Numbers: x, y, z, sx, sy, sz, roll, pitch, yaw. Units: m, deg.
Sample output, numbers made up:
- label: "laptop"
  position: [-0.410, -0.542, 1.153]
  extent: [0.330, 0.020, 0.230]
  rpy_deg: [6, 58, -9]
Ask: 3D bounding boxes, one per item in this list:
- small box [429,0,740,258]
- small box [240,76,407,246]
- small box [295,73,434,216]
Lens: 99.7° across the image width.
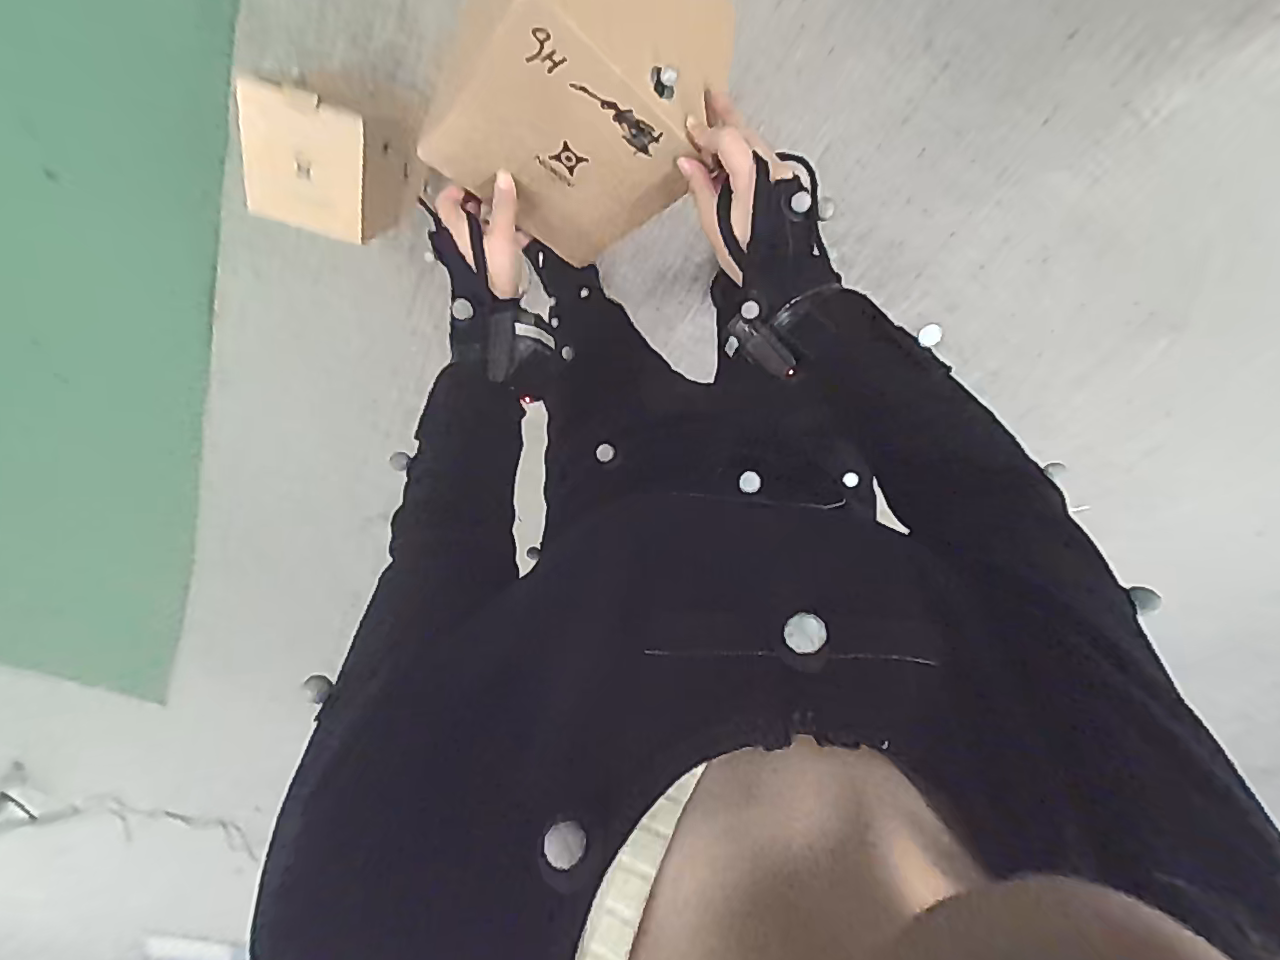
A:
- label: "small box"
  position: [-0.038, -0.324, 0.433]
  extent: [0.168, 0.176, 0.179]
  rpy_deg: [23, 159, -38]
- label: "small box"
  position: [-0.474, -0.493, 0.837]
  extent: [0.168, 0.176, 0.179]
  rpy_deg: [14, 125, -9]
- label: "small box"
  position: [-0.481, -0.596, 0.963]
  extent: [0.179, 0.176, 0.168]
  rpy_deg: [16, 124, -11]
